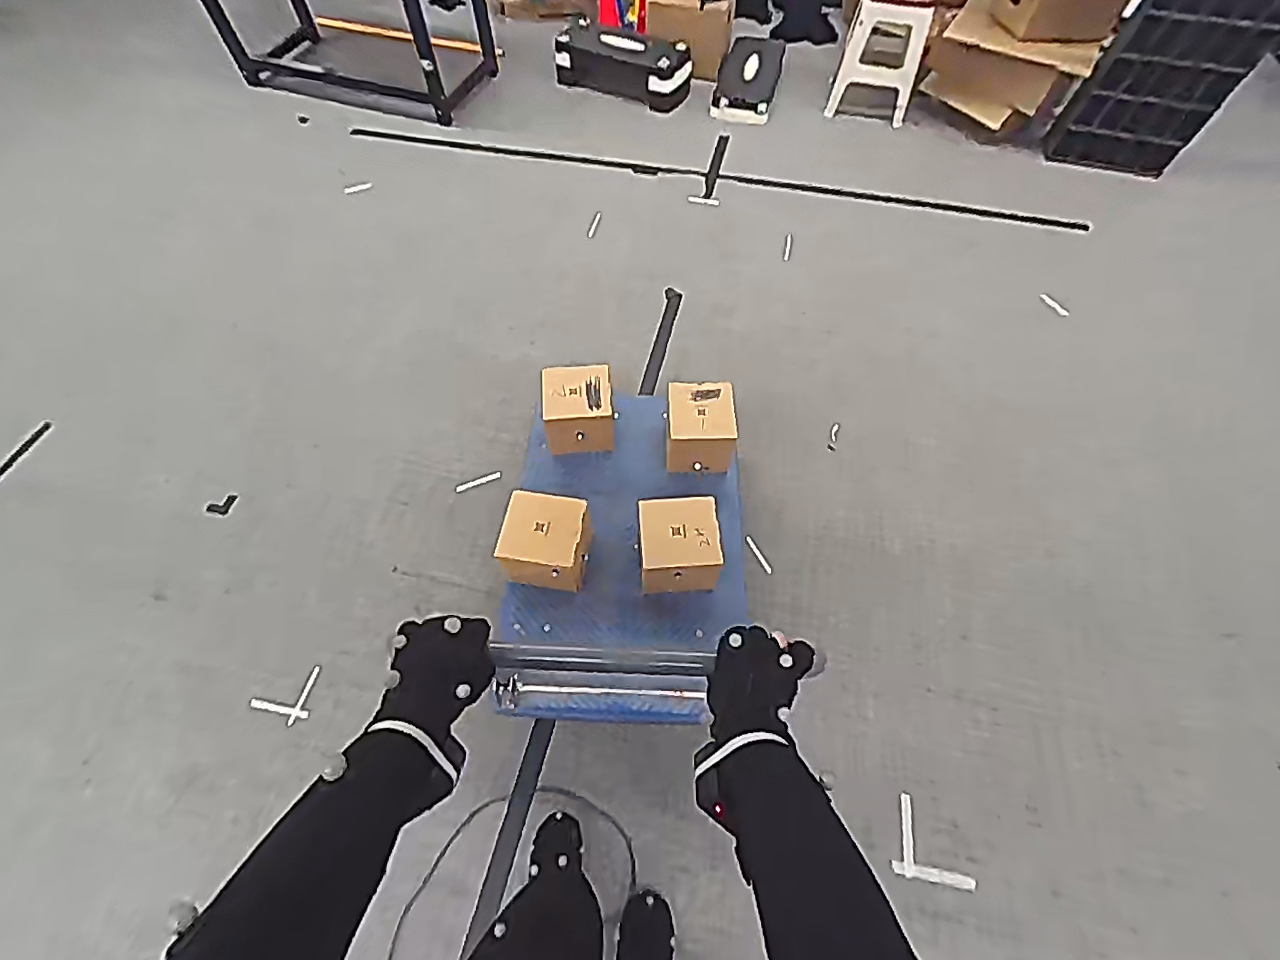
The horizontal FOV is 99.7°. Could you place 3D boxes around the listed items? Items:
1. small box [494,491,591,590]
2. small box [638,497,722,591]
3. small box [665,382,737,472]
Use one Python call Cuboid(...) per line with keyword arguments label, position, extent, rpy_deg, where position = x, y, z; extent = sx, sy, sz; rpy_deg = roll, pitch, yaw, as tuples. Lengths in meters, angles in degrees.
Cuboid(label="small box", position=(-0.217, 0.144, 1.259), extent=(0.179, 0.176, 0.168), rpy_deg=(8, 60, 3))
Cuboid(label="small box", position=(0.087, 0.152, 1.253), extent=(0.179, 0.176, 0.168), rpy_deg=(-3, 61, -2))
Cuboid(label="small box", position=(0.154, -0.136, 1.418), extent=(0.168, 0.176, 0.179), rpy_deg=(-1, 61, 0))
